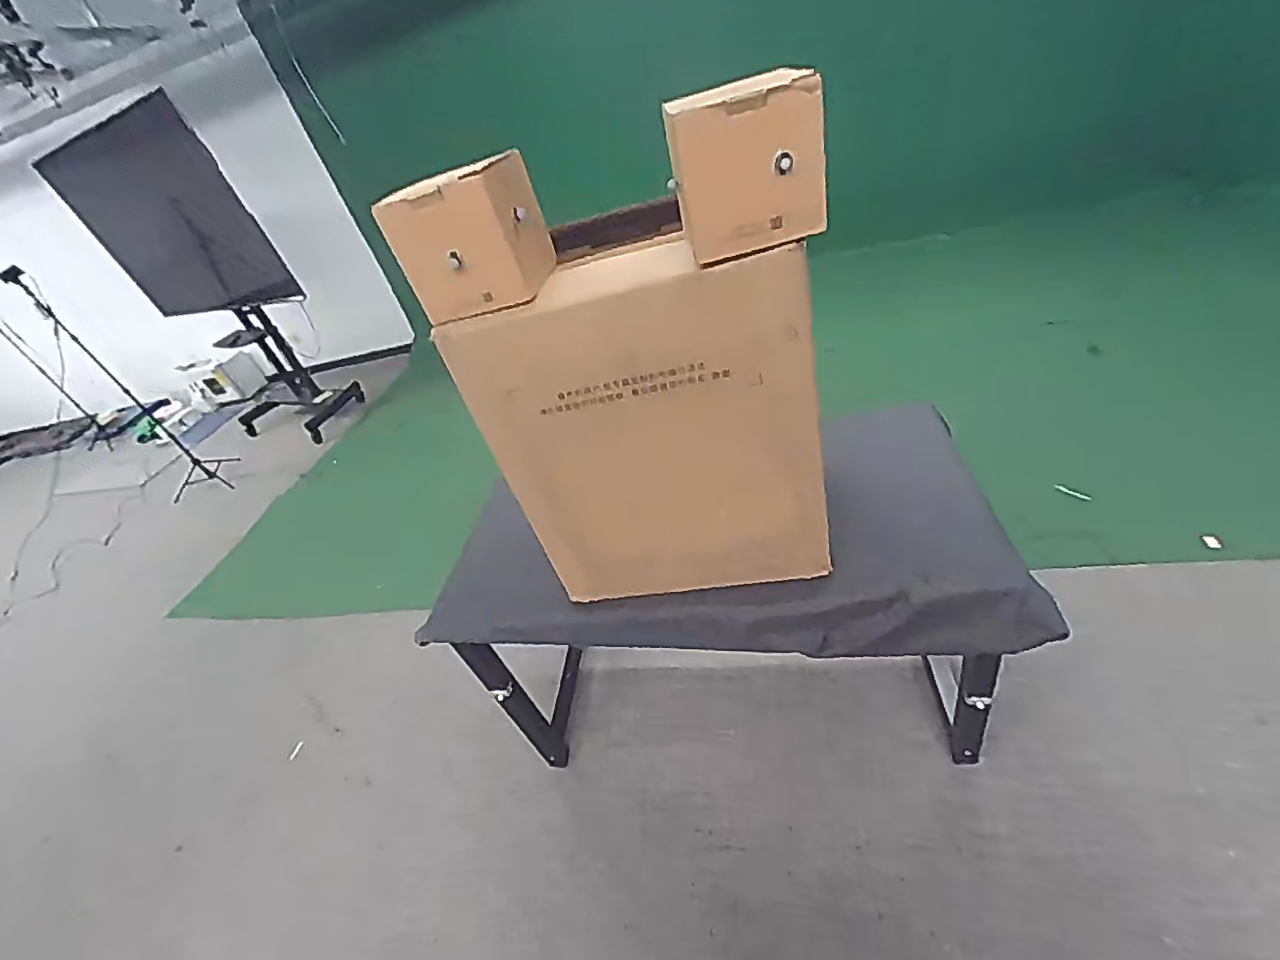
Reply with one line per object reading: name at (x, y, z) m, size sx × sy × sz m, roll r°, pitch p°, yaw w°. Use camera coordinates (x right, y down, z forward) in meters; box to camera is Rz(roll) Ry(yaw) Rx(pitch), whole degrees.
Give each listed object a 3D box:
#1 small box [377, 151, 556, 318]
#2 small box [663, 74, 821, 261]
small box at (-0.239, -0.355, 0.800) m, size 0.168 × 0.176 × 0.179 m, roll -8°, pitch 38°, yaw 14°
small box at (0.130, -0.399, 0.700) m, size 0.168 × 0.176 × 0.179 m, roll -11°, pitch 36°, yaw 6°
